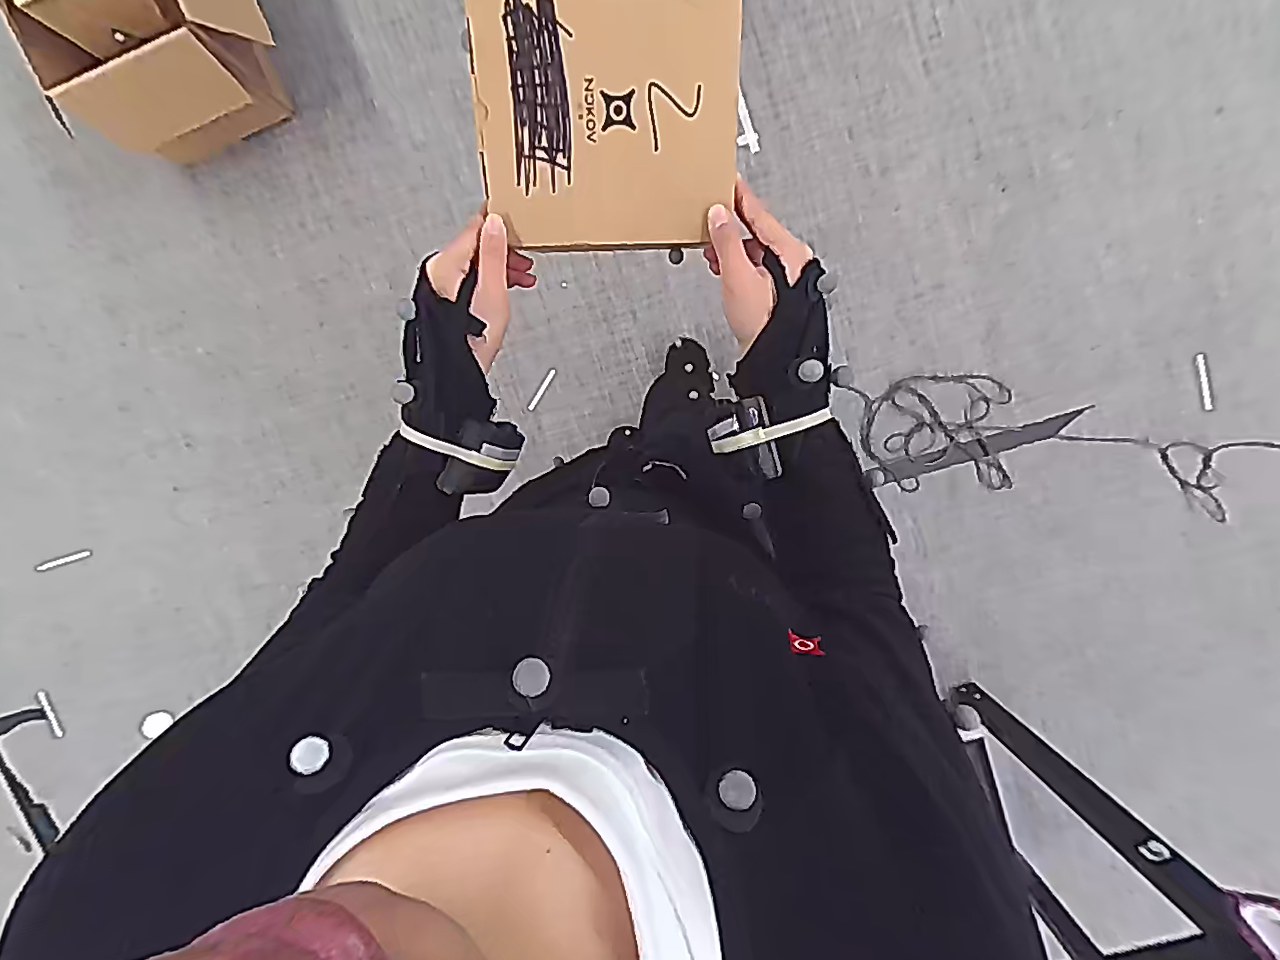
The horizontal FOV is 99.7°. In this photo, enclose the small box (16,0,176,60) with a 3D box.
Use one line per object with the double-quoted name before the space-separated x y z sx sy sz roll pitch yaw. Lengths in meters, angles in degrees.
"small box" -1.039 -0.949 1.010 0.168 0.176 0.179 -19 97 4
